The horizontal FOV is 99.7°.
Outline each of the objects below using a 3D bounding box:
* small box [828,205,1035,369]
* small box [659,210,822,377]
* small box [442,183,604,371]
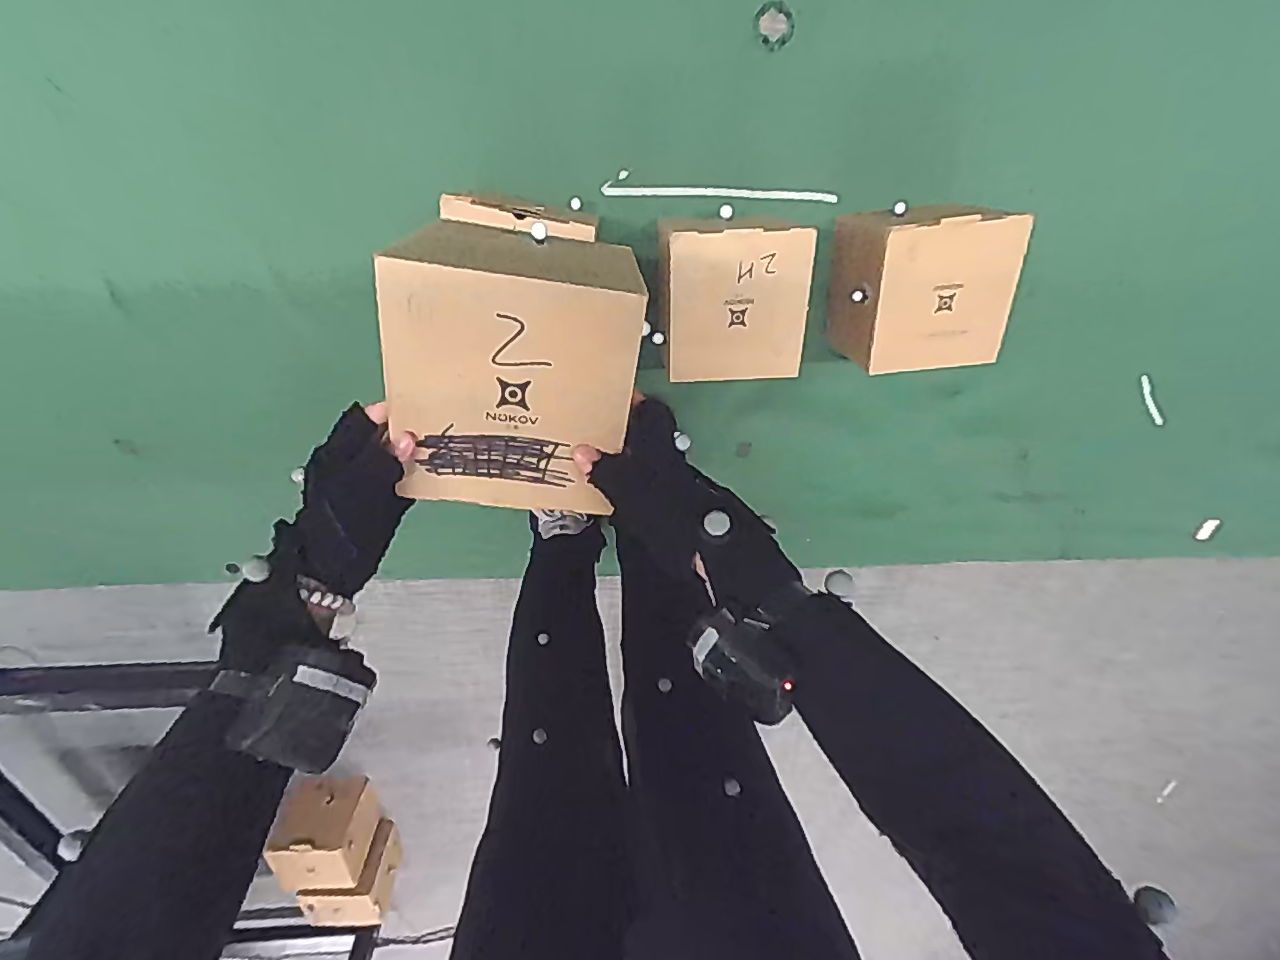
[{"bbox_3d":[0.363,-0.260,0.713,0.168,0.176,0.179,-5,121,-1],"label":"small box"},{"bbox_3d":[0.116,-0.246,0.702,0.168,0.176,0.179,-2,120,-3],"label":"small box"},{"bbox_3d":[-0.141,-0.260,0.678,0.168,0.176,0.179,9,120,-8],"label":"small box"}]
